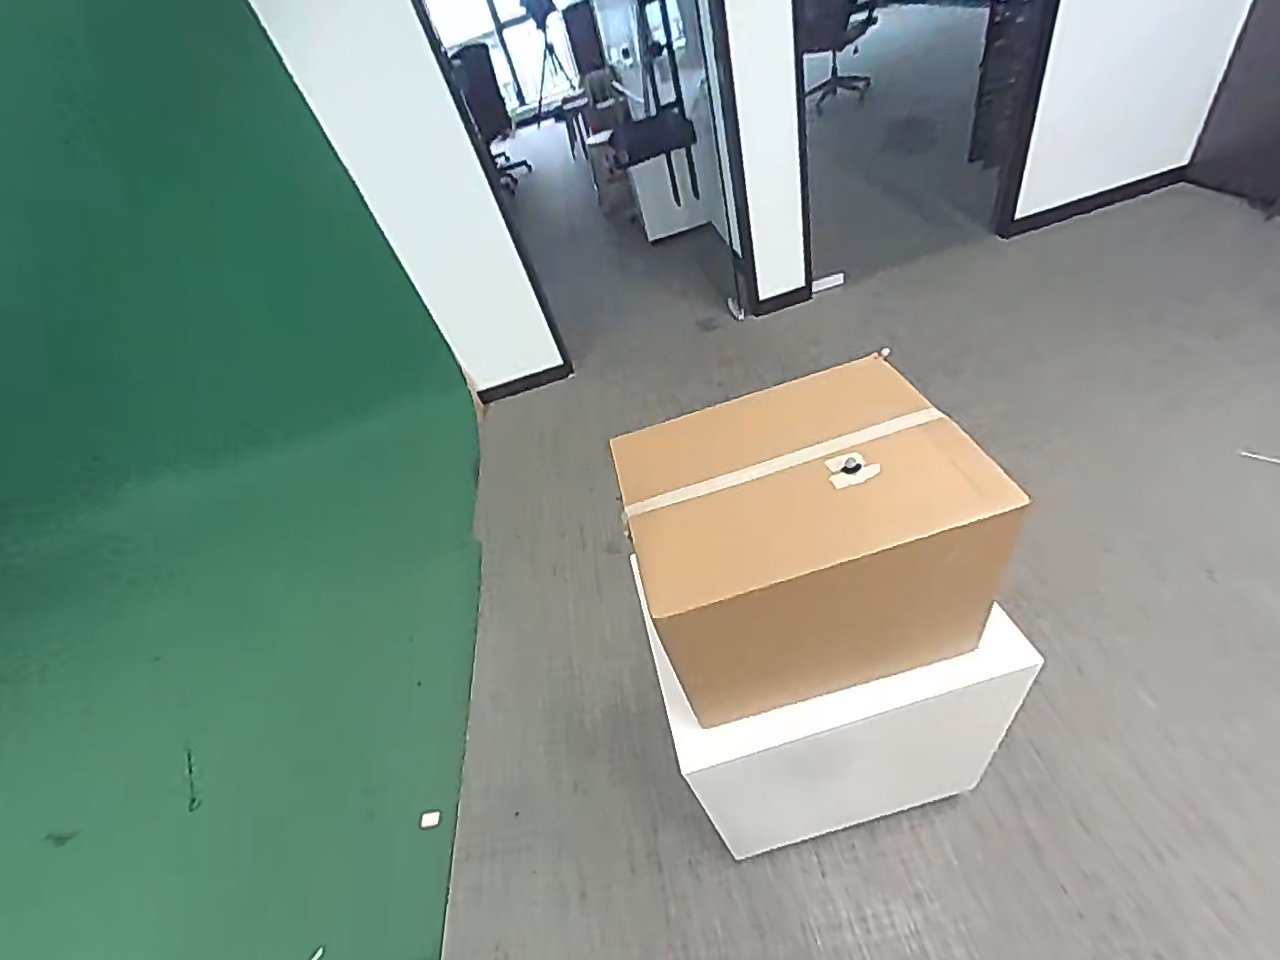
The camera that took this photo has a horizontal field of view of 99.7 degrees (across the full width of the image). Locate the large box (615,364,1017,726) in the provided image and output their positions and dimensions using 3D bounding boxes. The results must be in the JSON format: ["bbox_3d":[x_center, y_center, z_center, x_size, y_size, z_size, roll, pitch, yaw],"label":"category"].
[{"bbox_3d":[0.213,0.093,0.775,0.408,0.320,0.320,-17,43,1],"label":"large box"}]
